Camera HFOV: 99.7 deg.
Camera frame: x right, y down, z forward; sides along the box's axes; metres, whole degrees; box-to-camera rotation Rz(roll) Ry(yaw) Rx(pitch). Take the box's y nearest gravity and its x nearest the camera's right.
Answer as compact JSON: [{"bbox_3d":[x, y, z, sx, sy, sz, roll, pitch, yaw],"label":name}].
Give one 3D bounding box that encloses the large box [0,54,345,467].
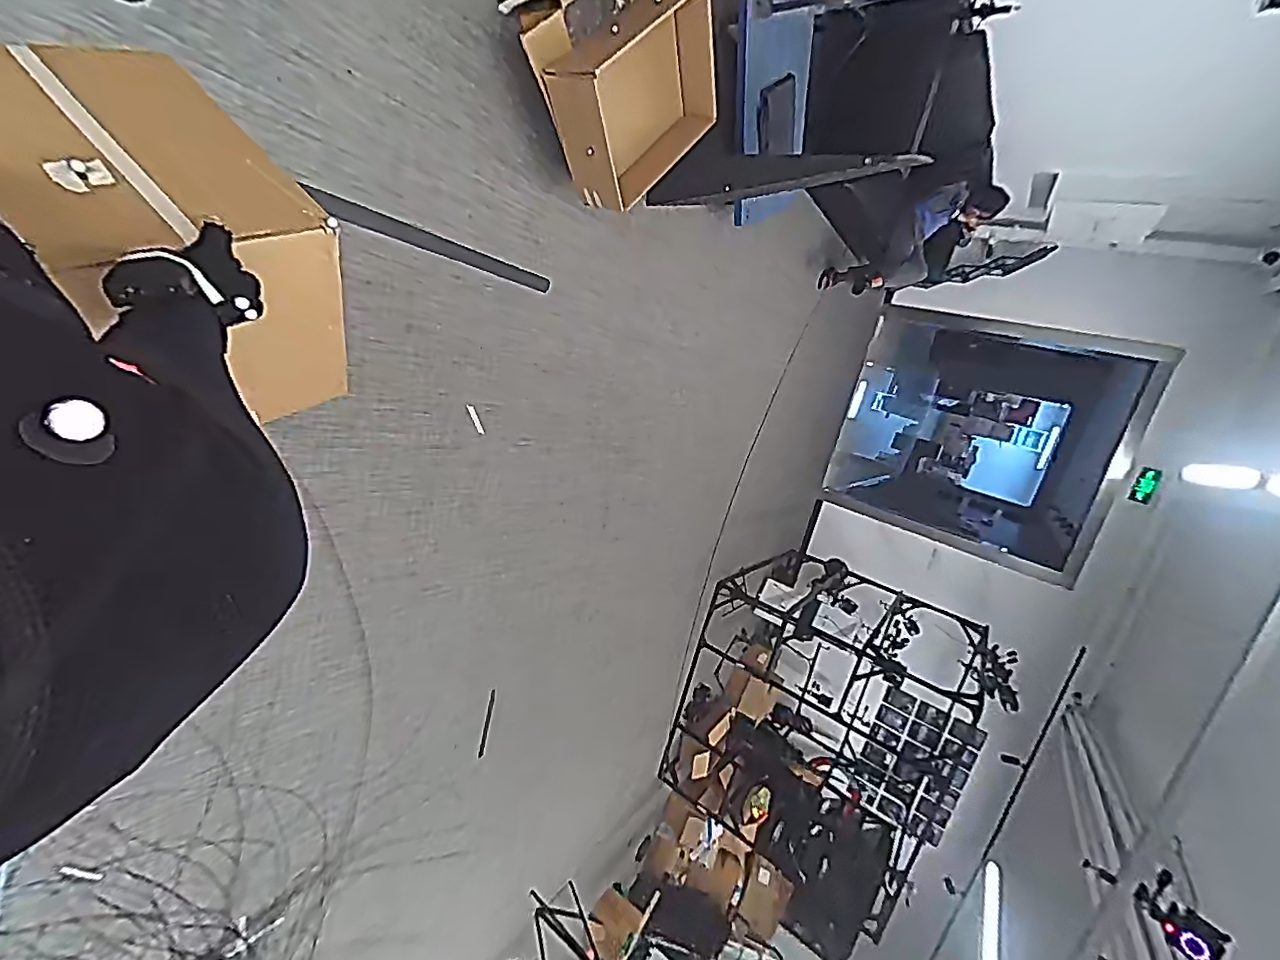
[{"bbox_3d":[-0.675,-0.299,0.744,0.320,0.408,0.320,-38,168,-39],"label":"large box"}]
